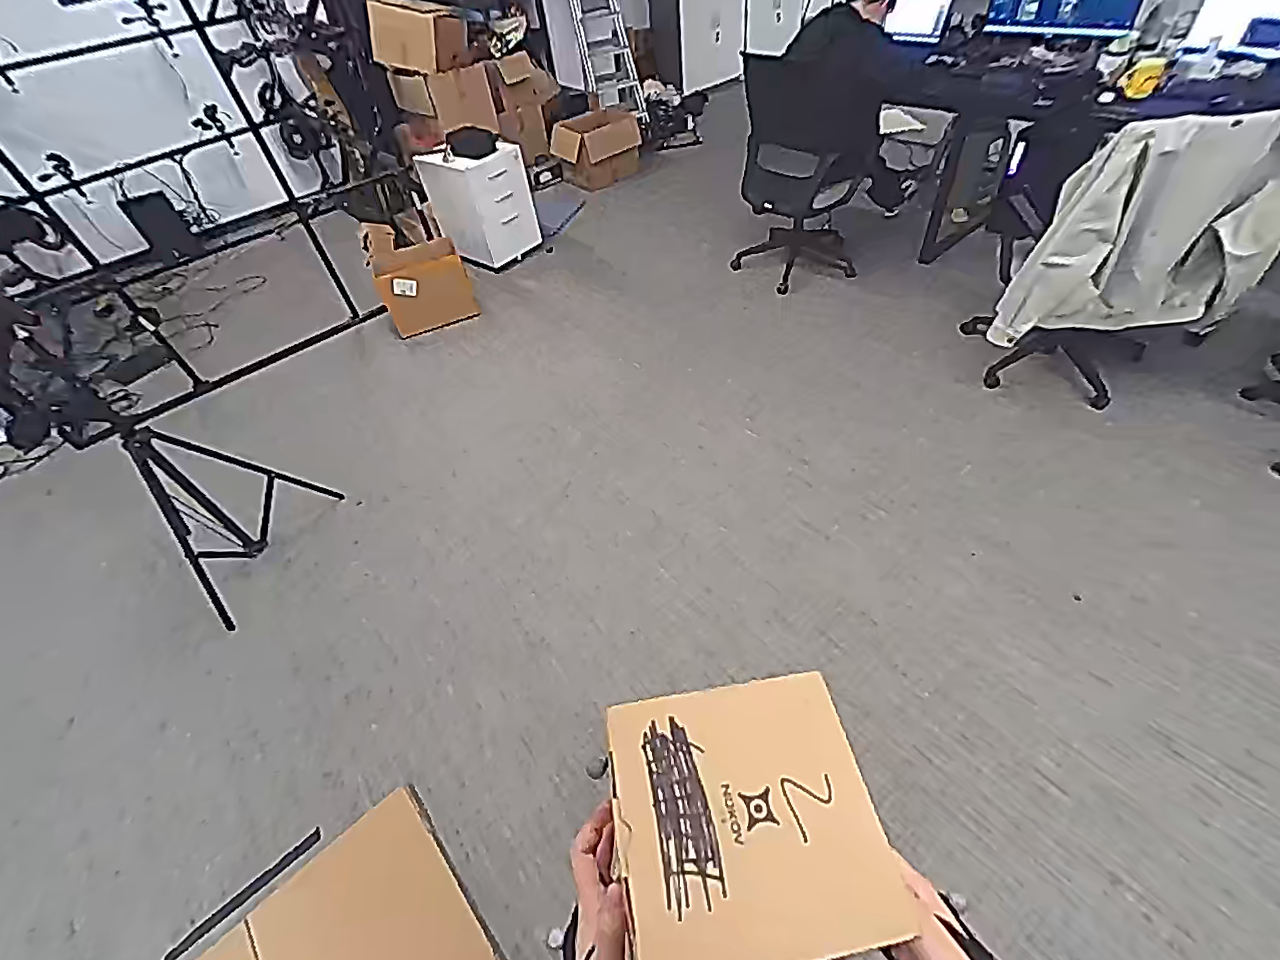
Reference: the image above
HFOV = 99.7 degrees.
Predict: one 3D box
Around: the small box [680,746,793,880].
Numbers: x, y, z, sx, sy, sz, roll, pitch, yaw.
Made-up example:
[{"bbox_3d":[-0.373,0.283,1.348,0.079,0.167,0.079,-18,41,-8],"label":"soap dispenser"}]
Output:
[{"bbox_3d":[0.167,0.585,0.946,0.179,0.176,0.168,1,49,9],"label":"small box"}]
